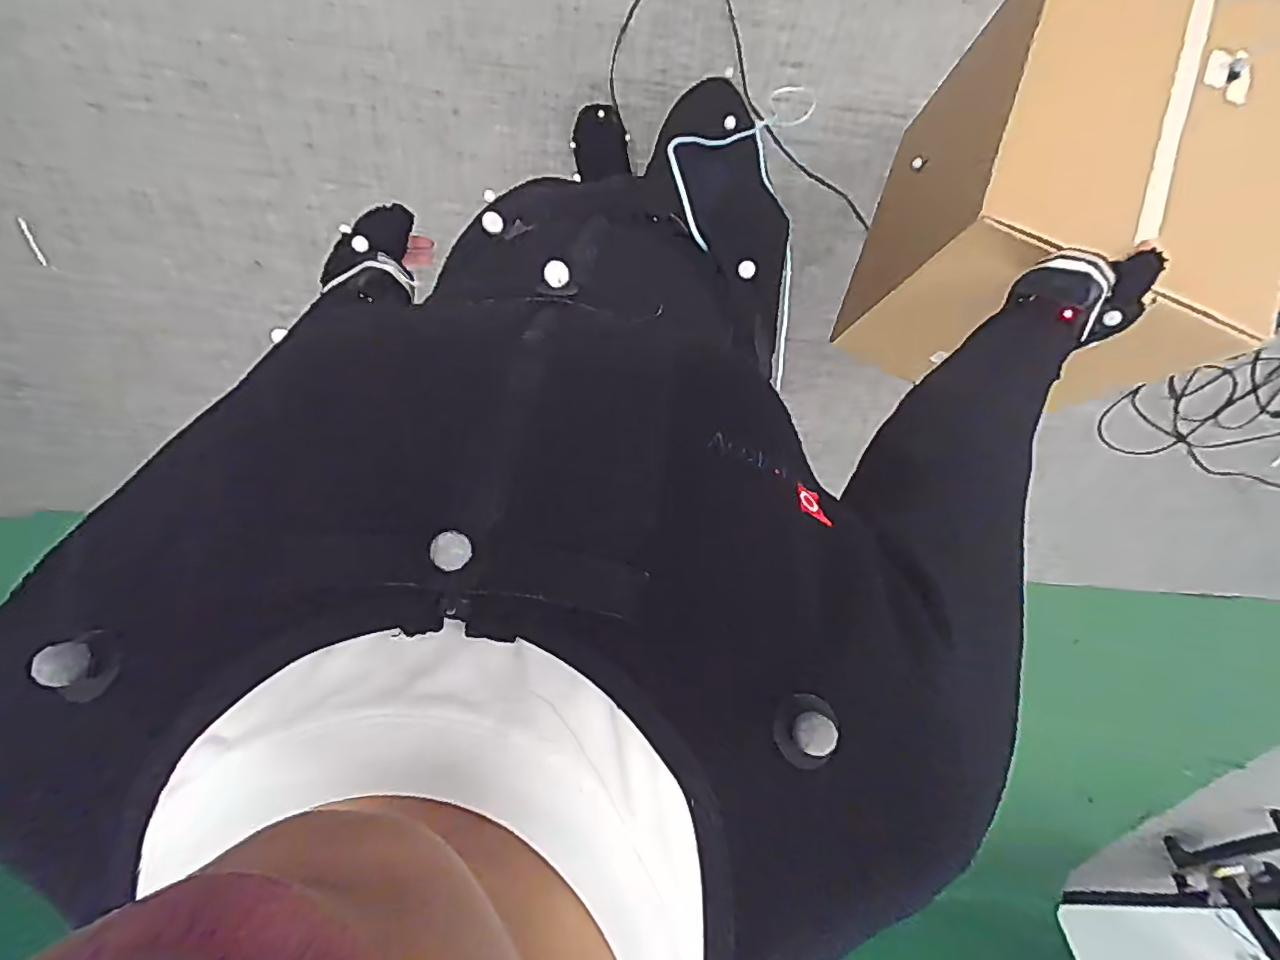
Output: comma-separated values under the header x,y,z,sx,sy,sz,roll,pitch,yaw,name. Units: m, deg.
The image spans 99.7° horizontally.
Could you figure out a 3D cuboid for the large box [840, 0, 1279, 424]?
x,y,z,sx,sy,sz,roll,pitch,yaw,name
0.514,-0.338,0.701,0.320,0.408,0.320,22,169,-3,large box
